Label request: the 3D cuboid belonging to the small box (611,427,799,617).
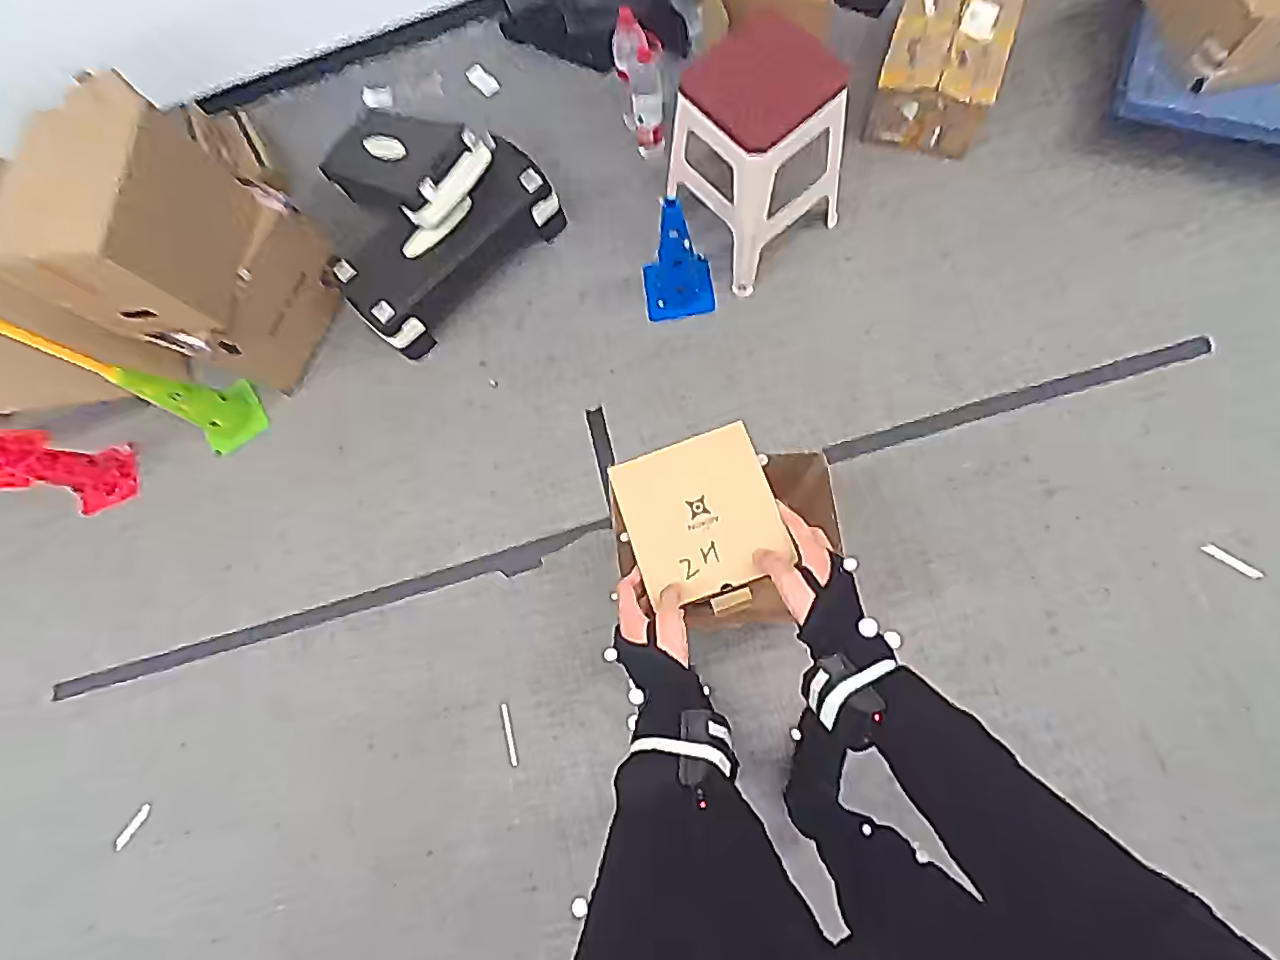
[{"bbox_3d":[0.076,0.059,0.675,0.168,0.176,0.179,-20,78,3],"label":"small box"}]
